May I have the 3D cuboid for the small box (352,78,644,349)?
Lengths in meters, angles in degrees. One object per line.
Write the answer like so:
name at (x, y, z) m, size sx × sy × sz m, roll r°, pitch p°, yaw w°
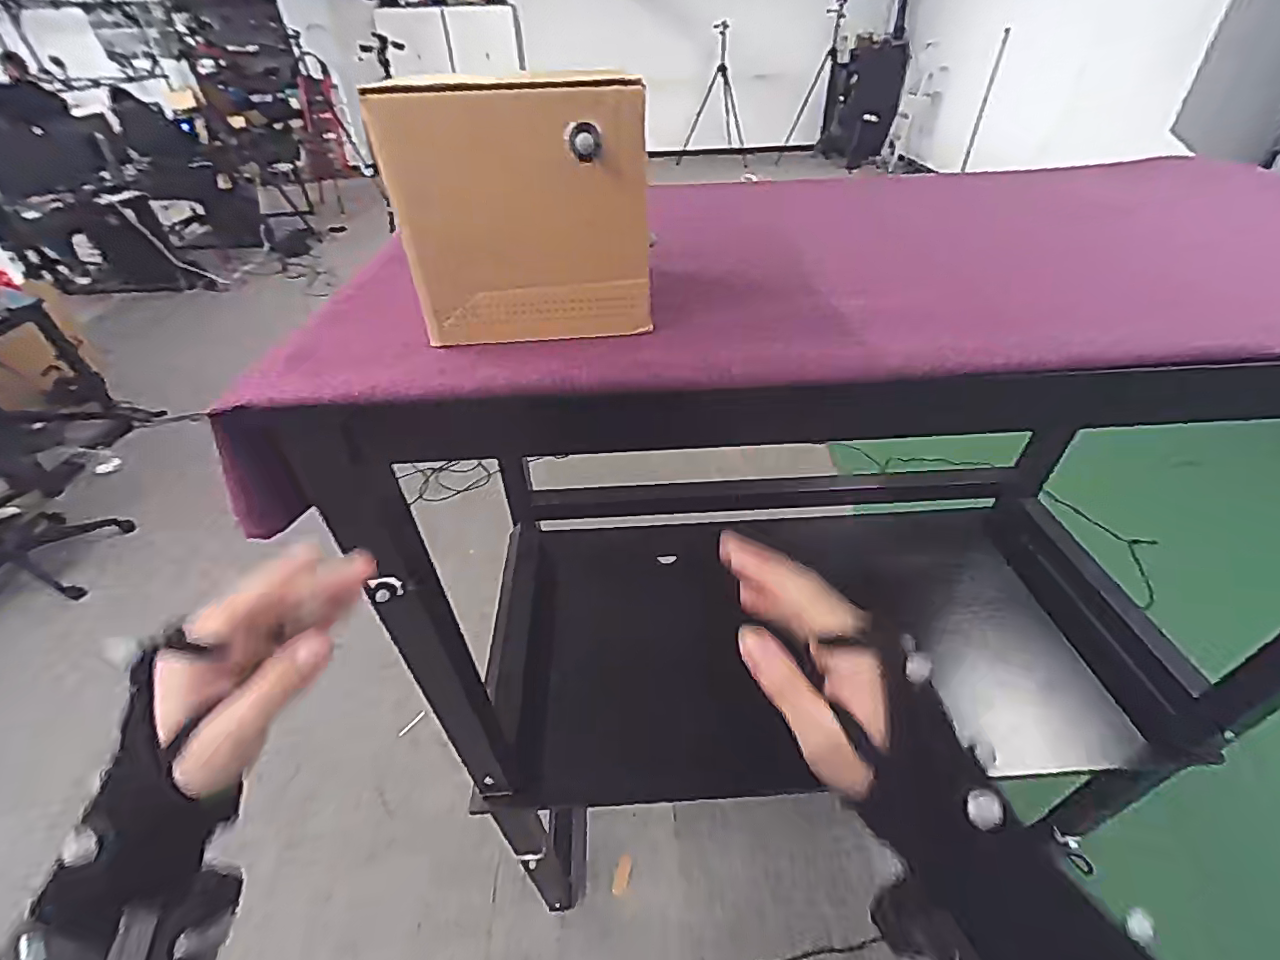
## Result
small box at (-0.093, -0.218, 0.443) m, size 0.179 × 0.176 × 0.168 m, roll -5°, pitch 39°, yaw -3°
